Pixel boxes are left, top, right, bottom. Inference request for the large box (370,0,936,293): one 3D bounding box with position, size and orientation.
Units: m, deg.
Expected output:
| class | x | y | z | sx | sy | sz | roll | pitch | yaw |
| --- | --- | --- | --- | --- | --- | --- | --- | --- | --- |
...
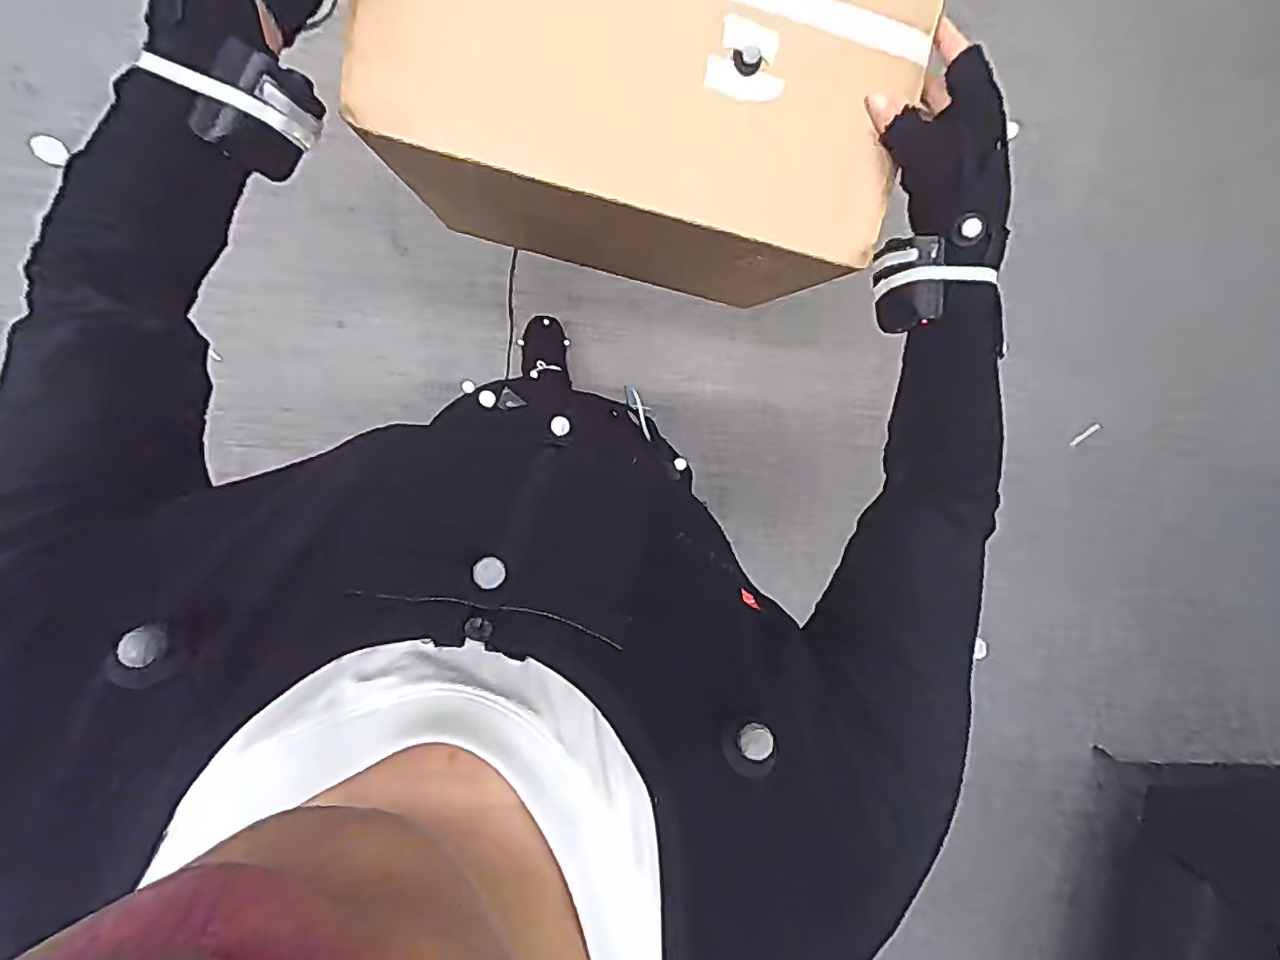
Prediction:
| class | x | y | z | sx | sy | sz | roll | pitch | yaw |
| --- | --- | --- | --- | --- | --- | --- | --- | --- | --- |
| large box | 0.007 | -0.400 | 0.533 | 0.408 | 0.320 | 0.320 | 10 | 101 | -10 |
